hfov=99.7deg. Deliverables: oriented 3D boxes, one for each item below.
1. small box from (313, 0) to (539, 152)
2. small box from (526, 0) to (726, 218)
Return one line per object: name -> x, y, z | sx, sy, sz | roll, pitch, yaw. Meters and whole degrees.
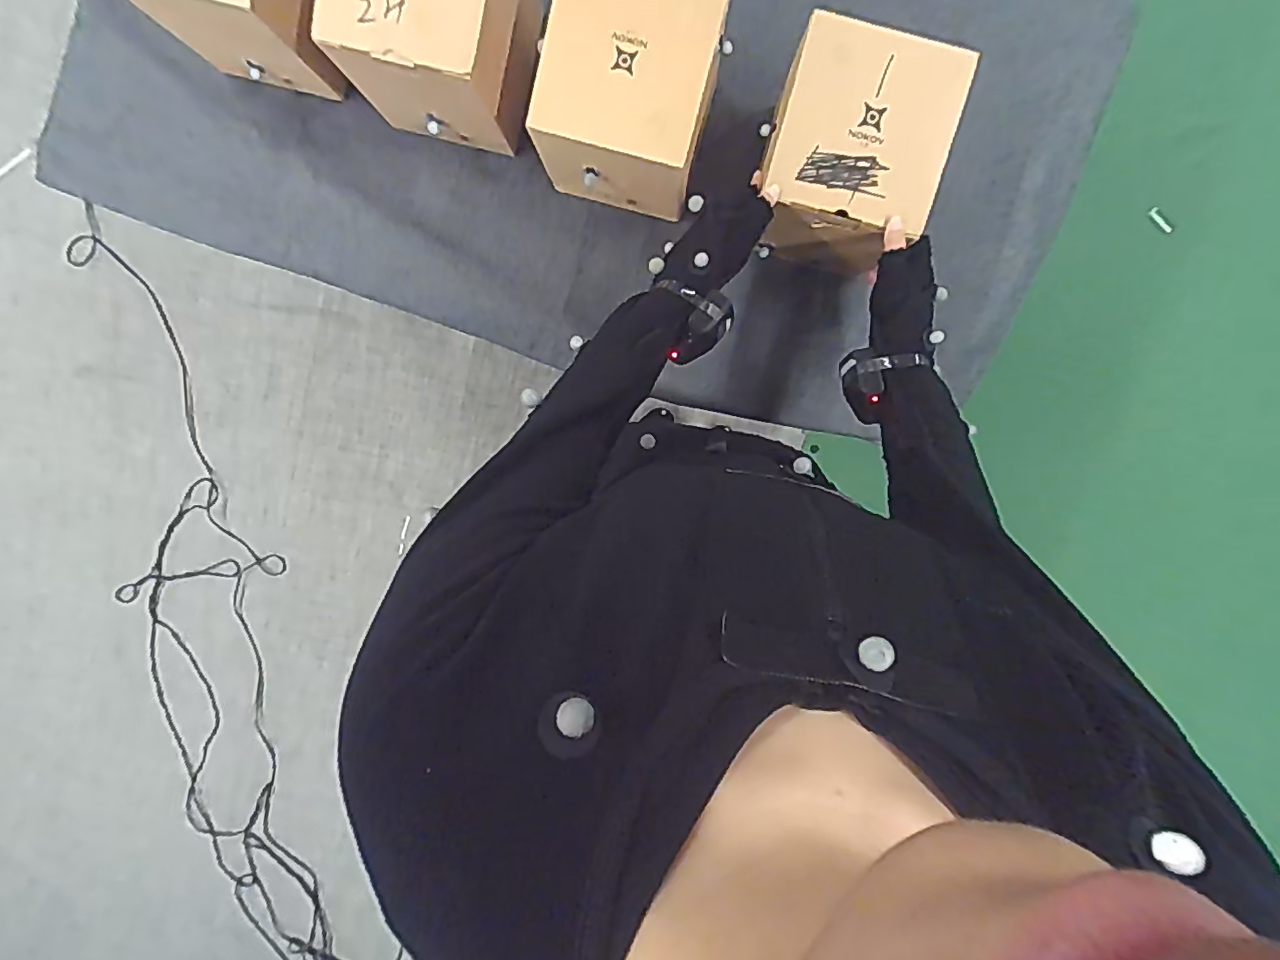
small box -> -0.219, -0.507, 0.597 | 0.168, 0.176, 0.179 | 14, 98, 0
small box -> -0.011, -0.422, 0.604 | 0.168, 0.176, 0.179 | 15, 97, 0
